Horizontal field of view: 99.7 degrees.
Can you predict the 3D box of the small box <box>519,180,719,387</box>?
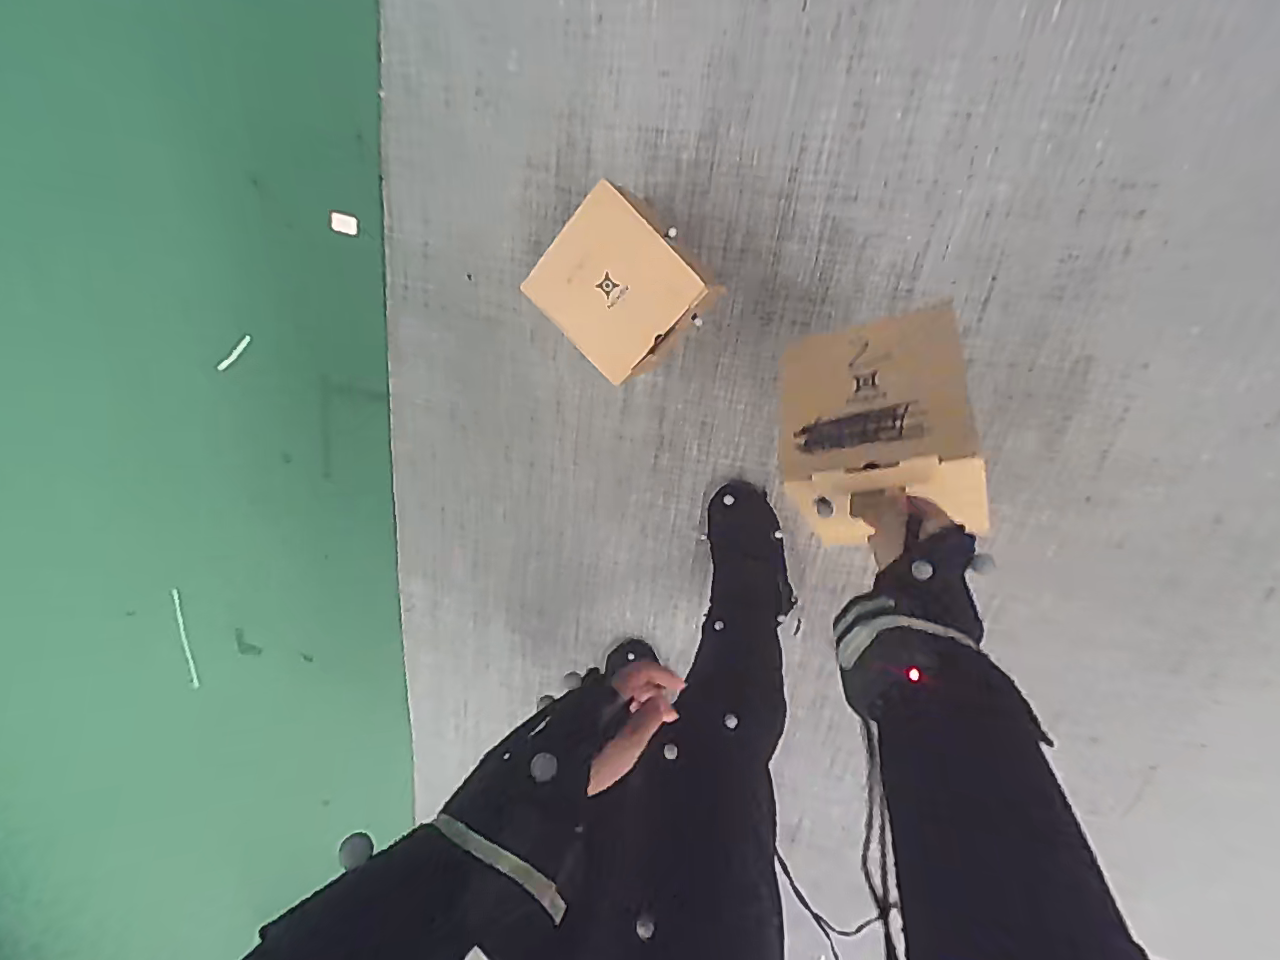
[{"bbox_3d":[-0.016,-0.252,0.711,0.179,0.176,0.168,45,114,-2],"label":"small box"}]
